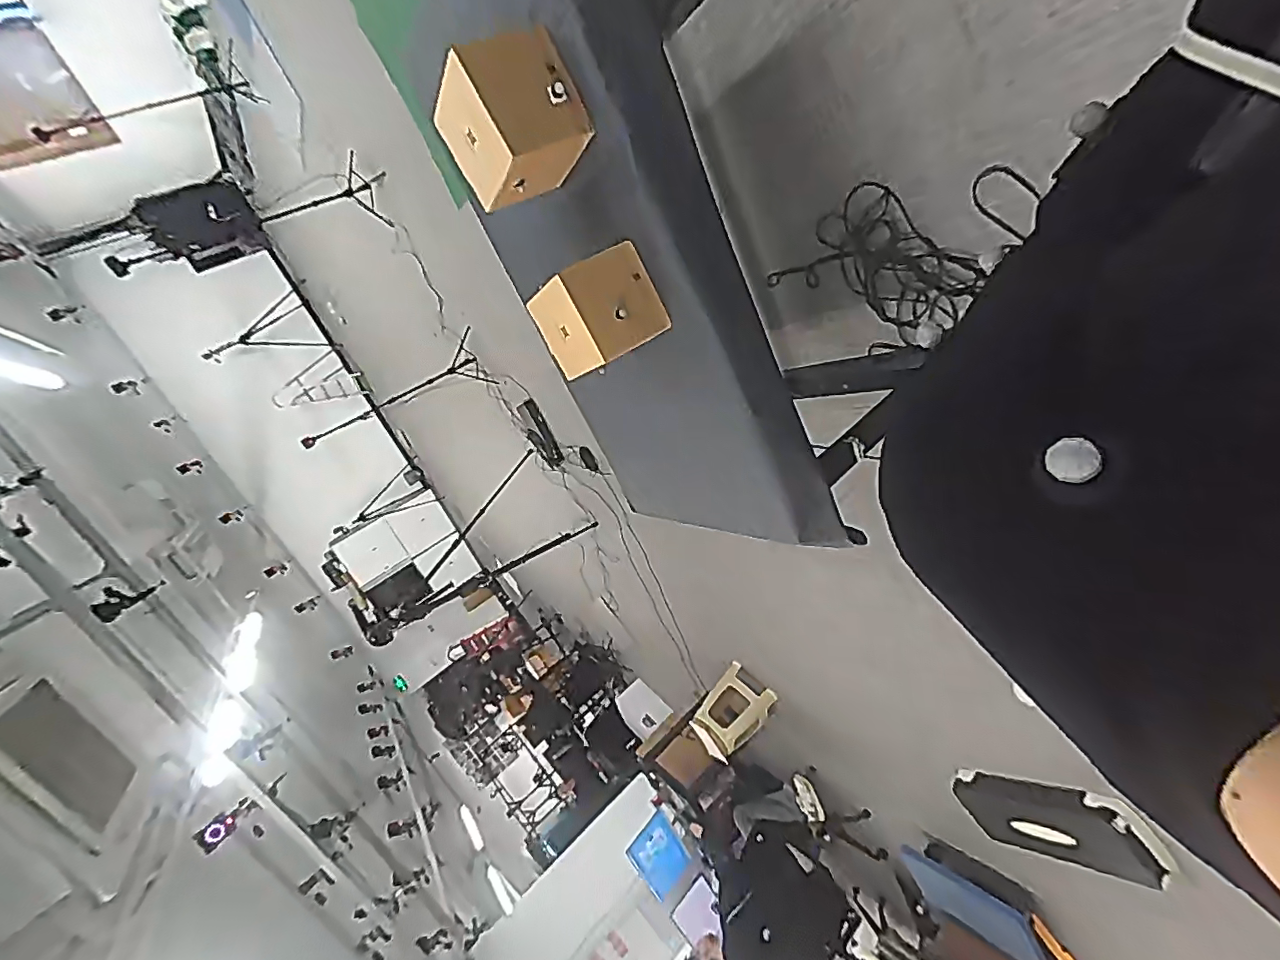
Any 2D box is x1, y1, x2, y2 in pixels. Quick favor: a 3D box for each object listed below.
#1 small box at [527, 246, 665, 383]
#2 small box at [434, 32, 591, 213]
[{"bbox_3d":[-0.076,-0.305,1.005,0.179,0.176,0.168,-3,120,61],"label":"small box"},{"bbox_3d":[-0.207,-0.579,0.886,0.168,0.176,0.179,59,154,-13],"label":"small box"}]
